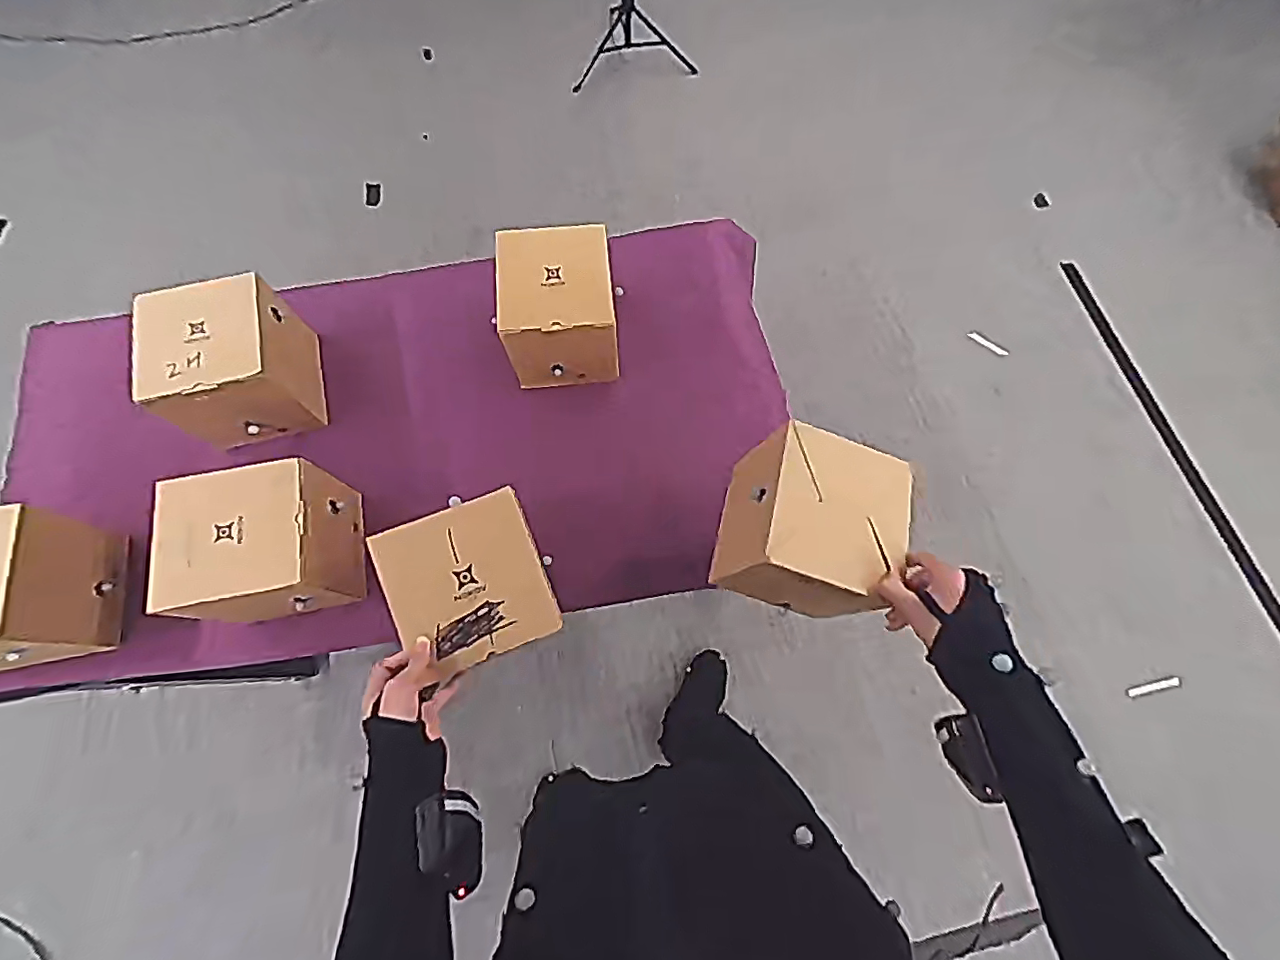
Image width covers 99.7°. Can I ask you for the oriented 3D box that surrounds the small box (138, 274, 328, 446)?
[{"bbox_3d":[-0.603,-0.175,0.821,0.168,0.176,0.179,-14,72,-6],"label":"small box"}]

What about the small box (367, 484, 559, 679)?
[{"bbox_3d":[-0.210,0.116,0.683,0.168,0.176,0.179,-21,90,-13],"label":"small box"}]

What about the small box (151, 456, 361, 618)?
[{"bbox_3d":[-0.496,0.084,0.730,0.179,0.176,0.168,-11,71,-5],"label":"small box"}]

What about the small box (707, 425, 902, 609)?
[{"bbox_3d":[0.201,0.049,0.673,0.168,0.176,0.179,18,67,-7],"label":"small box"}]

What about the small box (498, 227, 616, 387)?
[{"bbox_3d":[-0.126,-0.269,0.861,0.168,0.176,0.179,-5,72,-2],"label":"small box"}]
